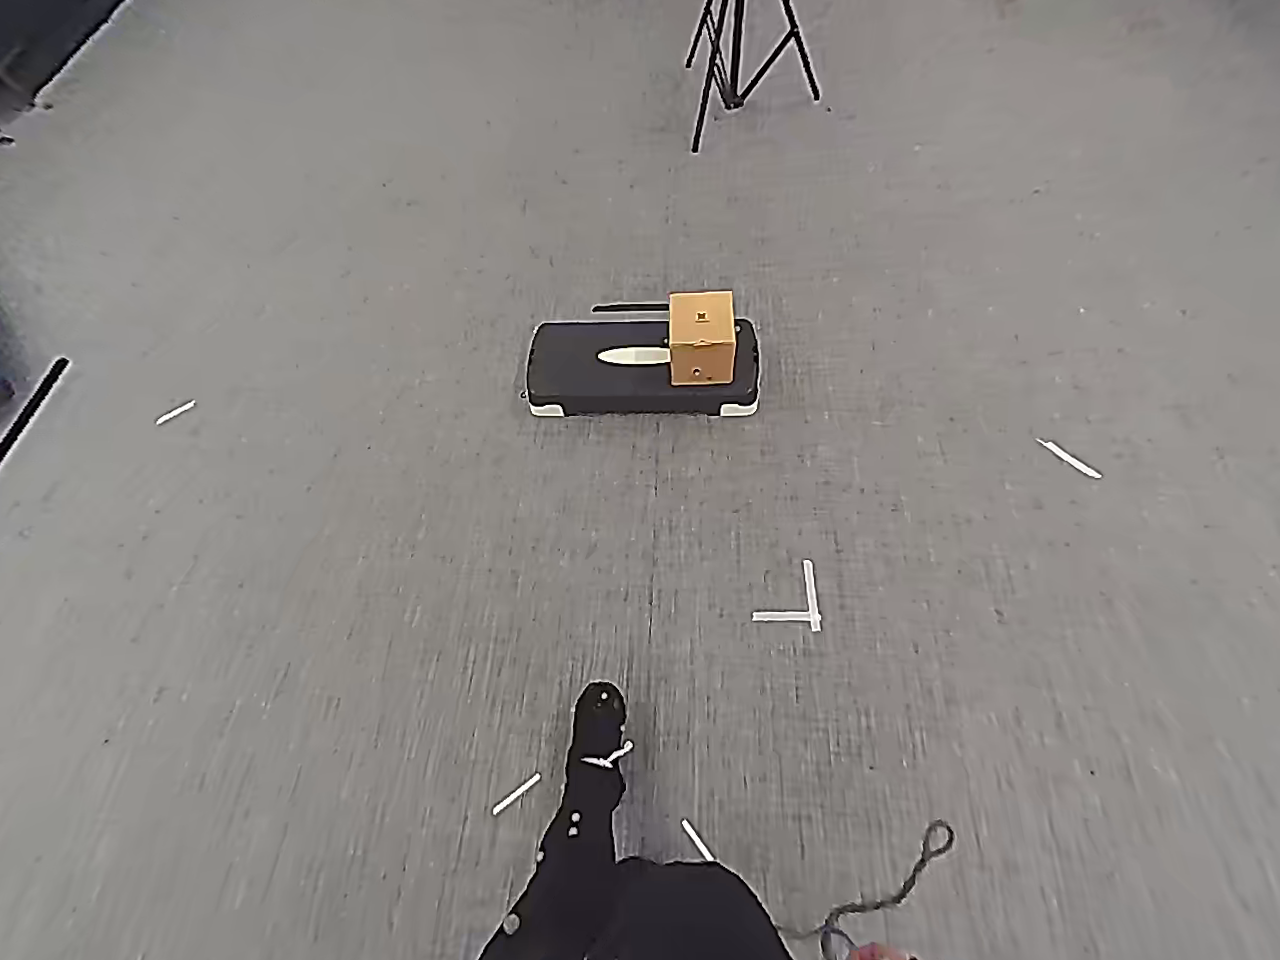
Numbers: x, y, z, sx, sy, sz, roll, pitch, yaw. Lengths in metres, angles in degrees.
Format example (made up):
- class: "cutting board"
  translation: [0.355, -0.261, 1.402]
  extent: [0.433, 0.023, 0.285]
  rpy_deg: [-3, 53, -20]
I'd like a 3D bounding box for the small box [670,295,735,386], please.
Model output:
- class: "small box"
  translation: [0.163, -0.373, 1.455]
  extent: [0.168, 0.176, 0.179]
  rpy_deg: [-1, 64, 4]
